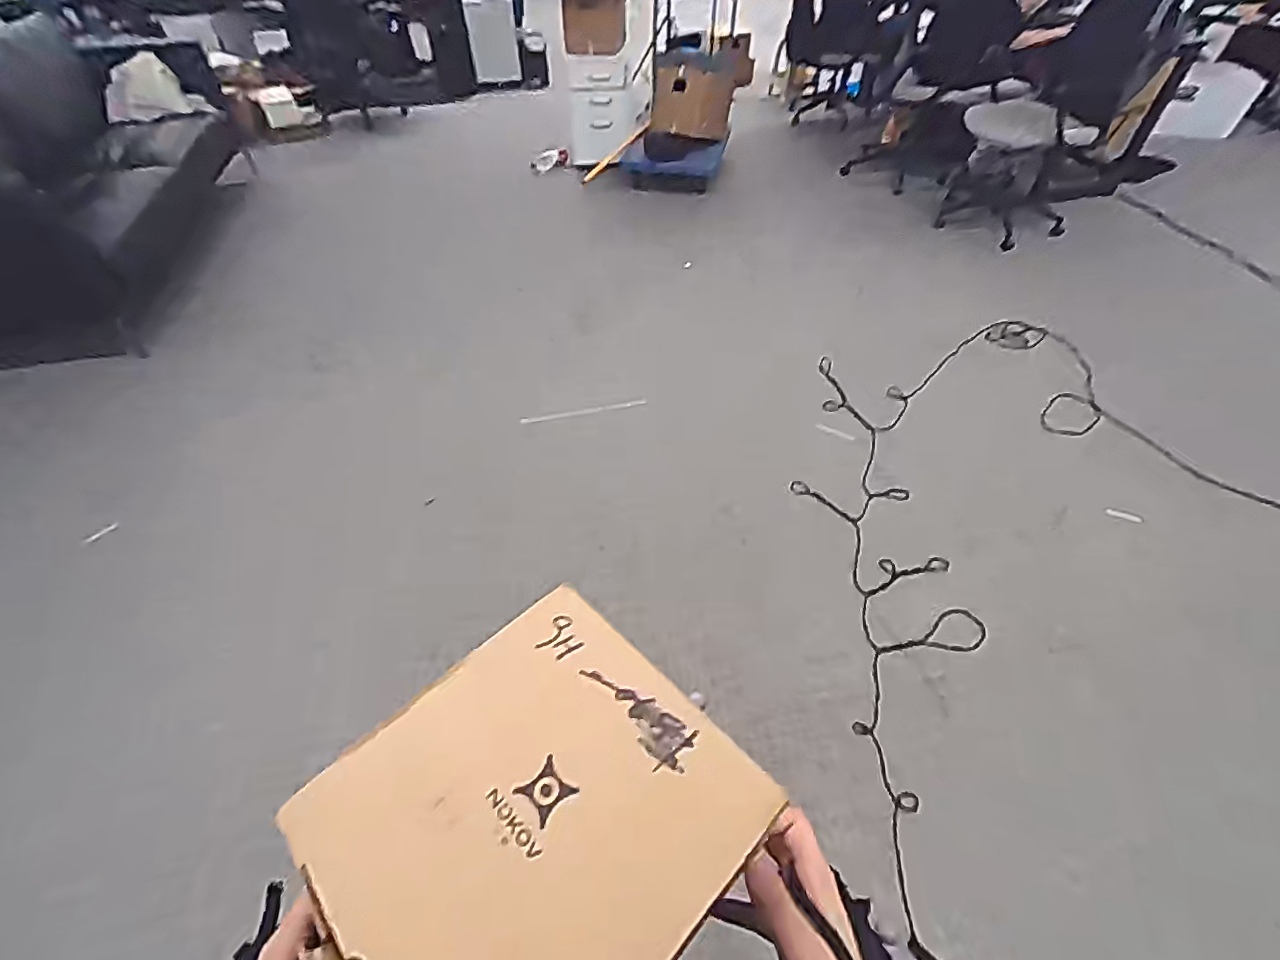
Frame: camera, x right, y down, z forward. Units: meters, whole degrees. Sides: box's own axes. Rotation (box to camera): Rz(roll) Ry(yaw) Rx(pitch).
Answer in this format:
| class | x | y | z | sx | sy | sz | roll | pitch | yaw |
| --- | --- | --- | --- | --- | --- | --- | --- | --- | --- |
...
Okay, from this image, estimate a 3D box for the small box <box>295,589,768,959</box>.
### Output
| class | x | y | z | sx | sy | sz | roll | pitch | yaw |
| --- | --- | --- | --- | --- | --- | --- | --- | --- | --- |
| small box | -0.049 | 0.208 | 0.320 | 0.168 | 0.176 | 0.179 | 35 | 58 | 30 |
